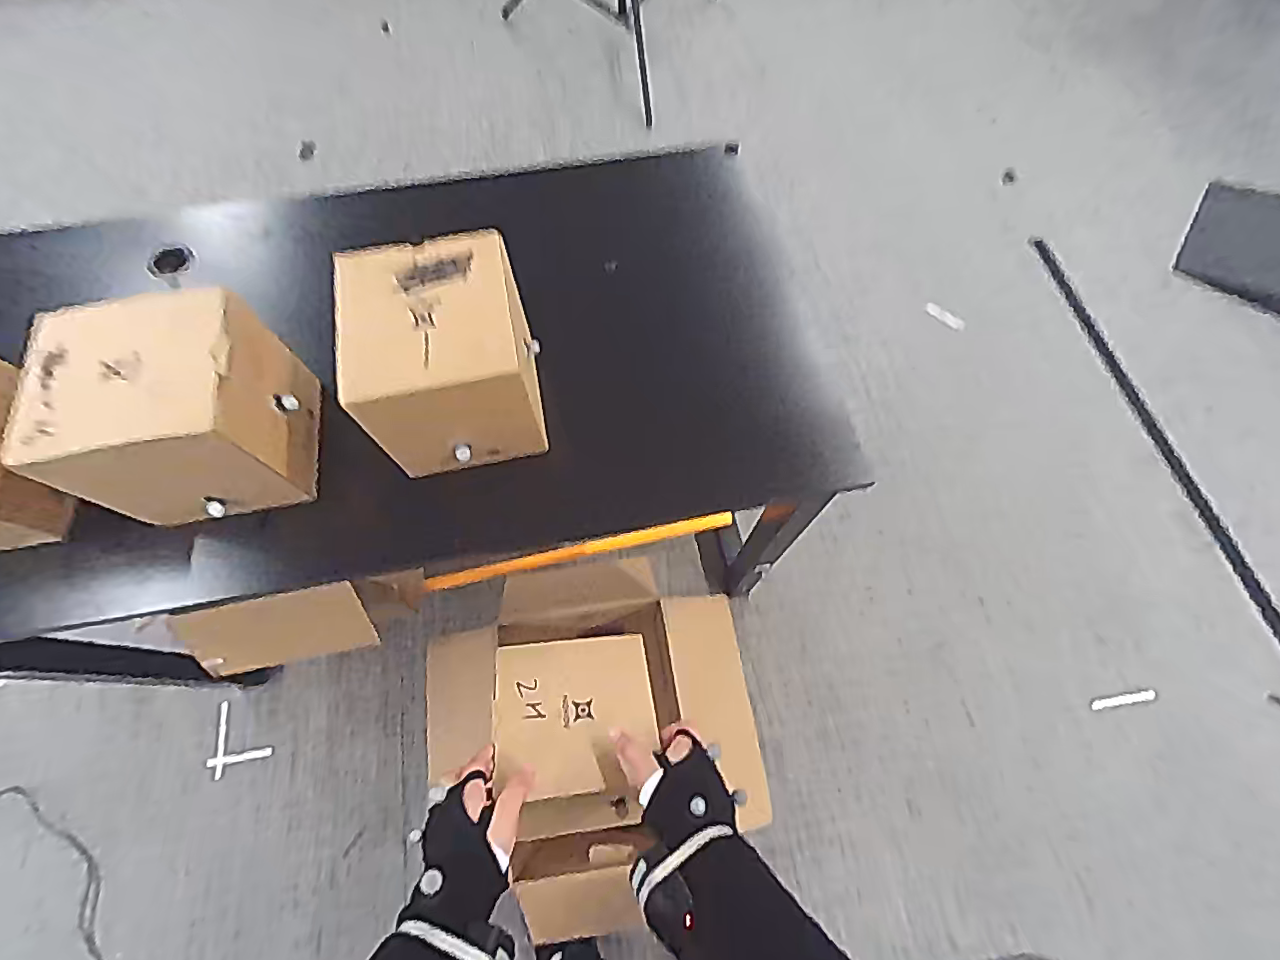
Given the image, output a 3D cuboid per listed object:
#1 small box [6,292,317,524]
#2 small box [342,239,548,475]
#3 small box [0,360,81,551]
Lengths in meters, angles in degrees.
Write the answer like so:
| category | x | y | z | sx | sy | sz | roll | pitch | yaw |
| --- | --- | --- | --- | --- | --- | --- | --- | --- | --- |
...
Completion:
| category | x | y | z | sx | sy | sz | roll | pitch | yaw |
| --- | --- | --- | --- | --- | --- | --- | --- | --- | --- |
| small box | -0.468 | -0.067 | 0.568 | 0.179 | 0.176 | 0.168 | -11 | 67 | -6 |
| small box | -0.203 | -0.128 | 0.595 | 0.168 | 0.176 | 0.179 | -11 | 68 | -5 |
| small box | -0.727 | -0.024 | 0.548 | 0.179 | 0.176 | 0.168 | -8 | 67 | -5 |
